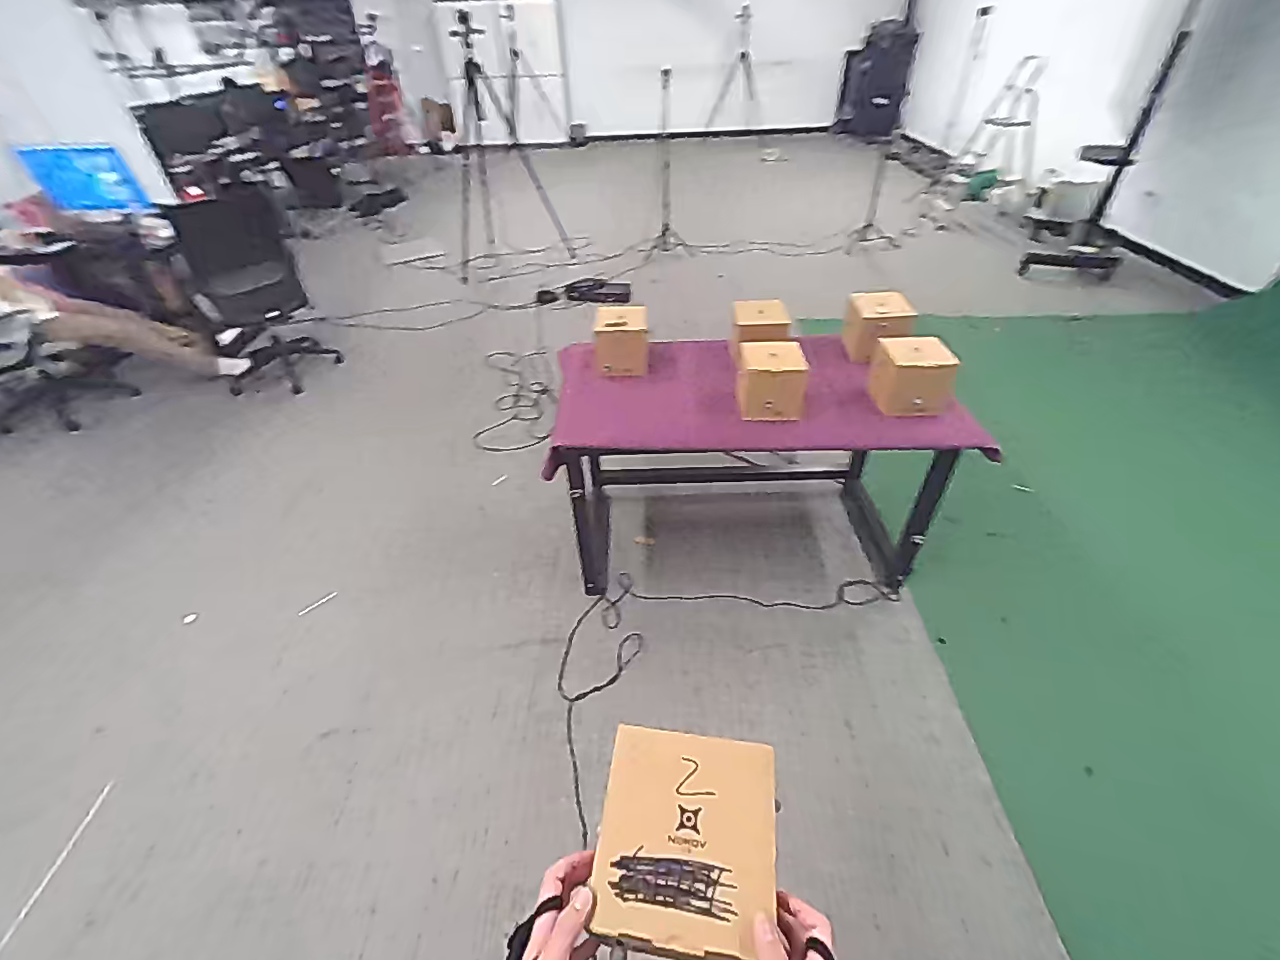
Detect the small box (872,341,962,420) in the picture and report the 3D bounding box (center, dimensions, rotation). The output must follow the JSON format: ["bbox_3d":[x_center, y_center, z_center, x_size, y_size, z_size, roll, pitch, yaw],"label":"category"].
[{"bbox_3d":[0.798,-0.291,1.581,0.168,0.176,0.179,0,40,4],"label":"small box"}]

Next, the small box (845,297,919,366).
[{"bbox_3d":[0.807,-0.501,1.824,0.168,0.176,0.179,-2,42,4],"label":"small box"}]

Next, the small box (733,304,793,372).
[{"bbox_3d":[0.409,-0.479,1.825,0.168,0.176,0.179,0,42,3],"label":"small box"}]

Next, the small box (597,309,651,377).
[{"bbox_3d":[-0.048,-0.458,1.818,0.168,0.176,0.179,0,41,2],"label":"small box"}]

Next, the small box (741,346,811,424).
[{"bbox_3d":[0.394,-0.282,1.598,0.168,0.176,0.179,1,40,3],"label":"small box"}]
